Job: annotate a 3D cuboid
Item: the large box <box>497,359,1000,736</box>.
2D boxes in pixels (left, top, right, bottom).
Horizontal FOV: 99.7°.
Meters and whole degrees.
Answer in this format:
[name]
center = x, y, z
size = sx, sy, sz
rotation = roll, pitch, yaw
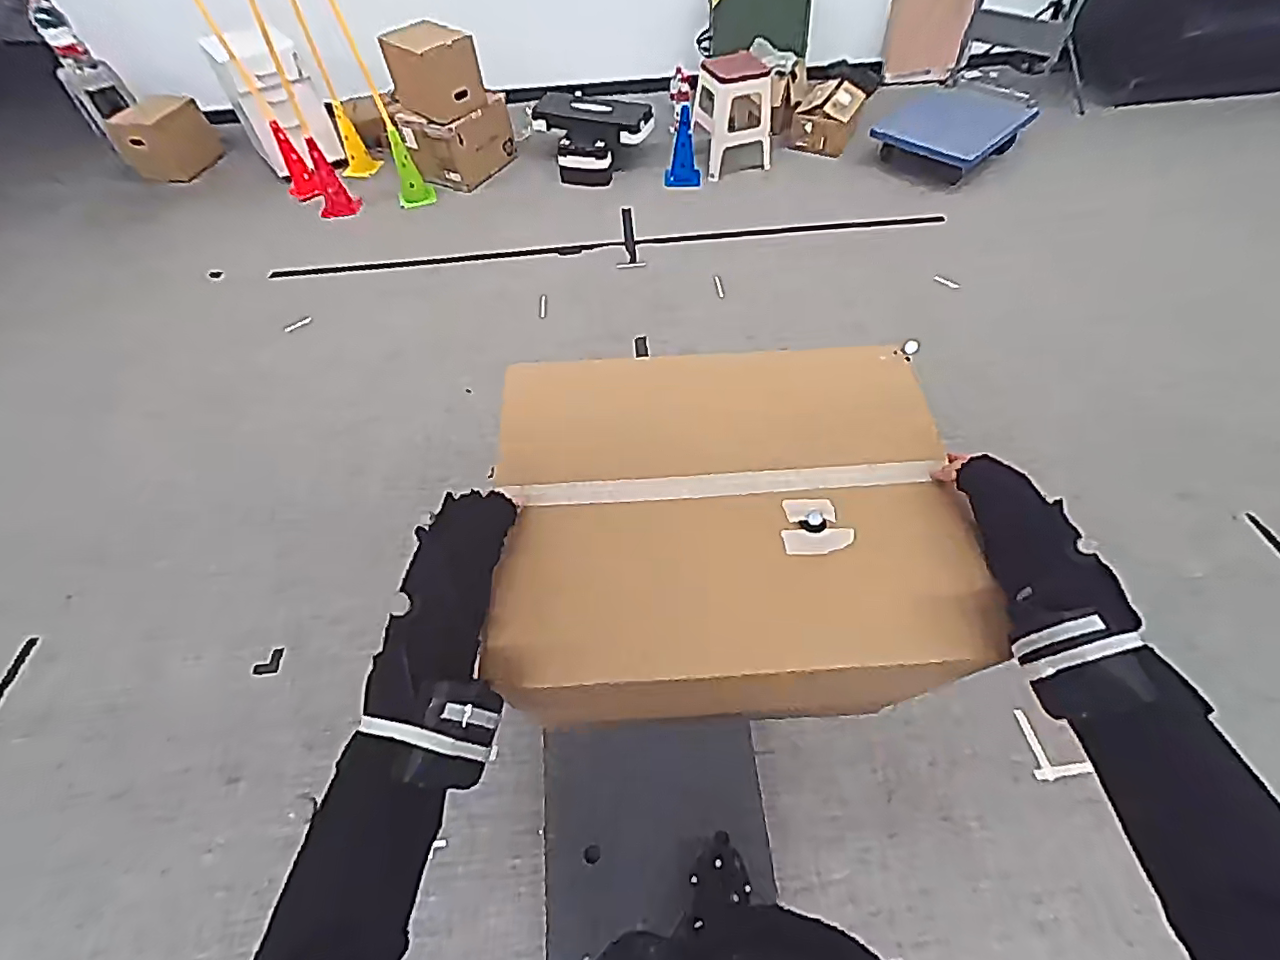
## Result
[large box]
center = 0.076, 0.092, 0.619
size = 0.408, 0.320, 0.320
rotation = -4, 59, -1
